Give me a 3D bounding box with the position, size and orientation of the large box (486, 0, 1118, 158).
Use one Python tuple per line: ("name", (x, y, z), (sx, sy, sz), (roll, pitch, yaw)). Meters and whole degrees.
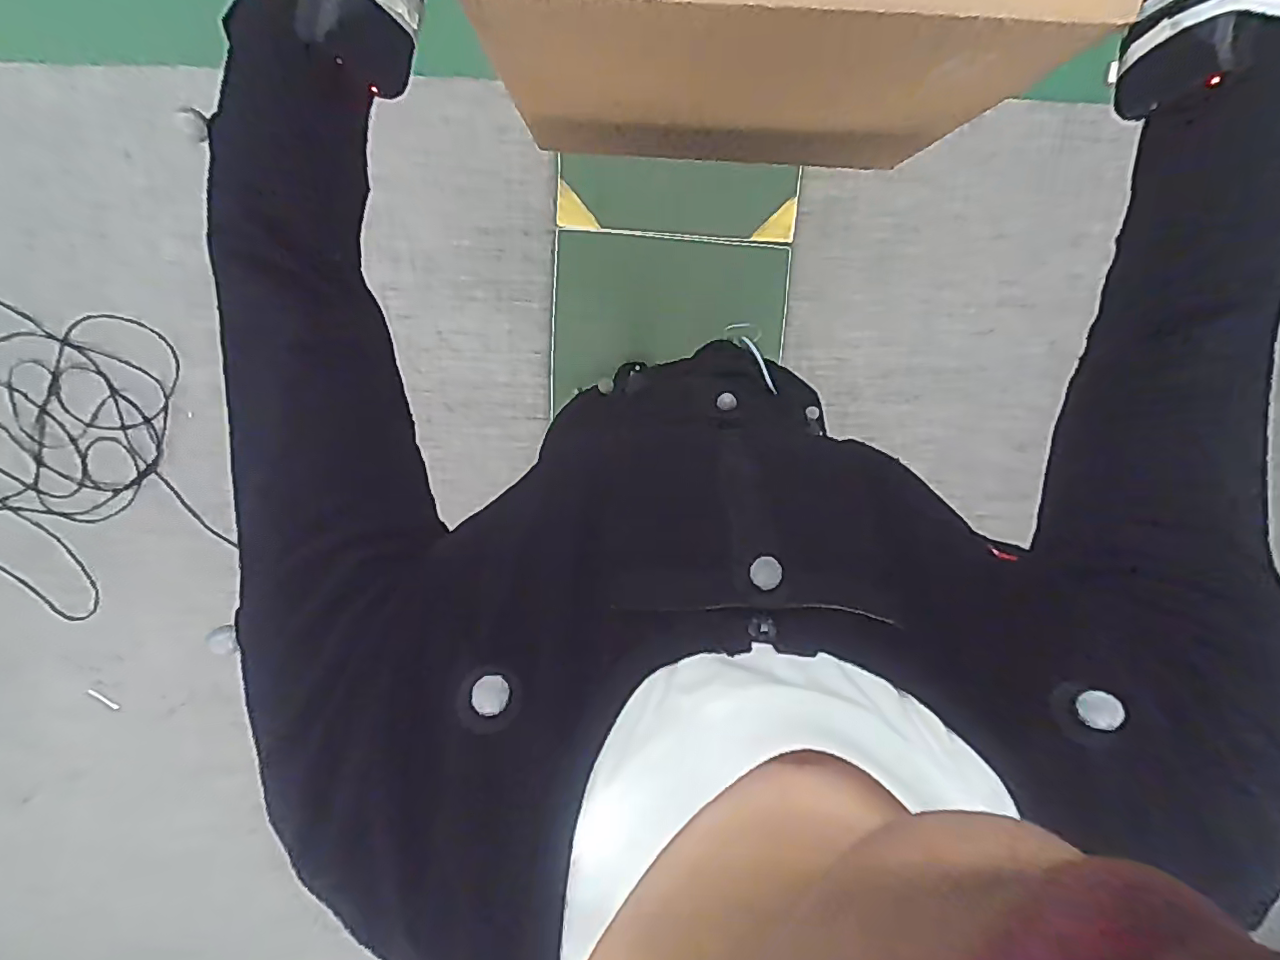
("large box", (0.095, -0.476, 0.431), (0.408, 0.320, 0.320), (1, 106, -2))
